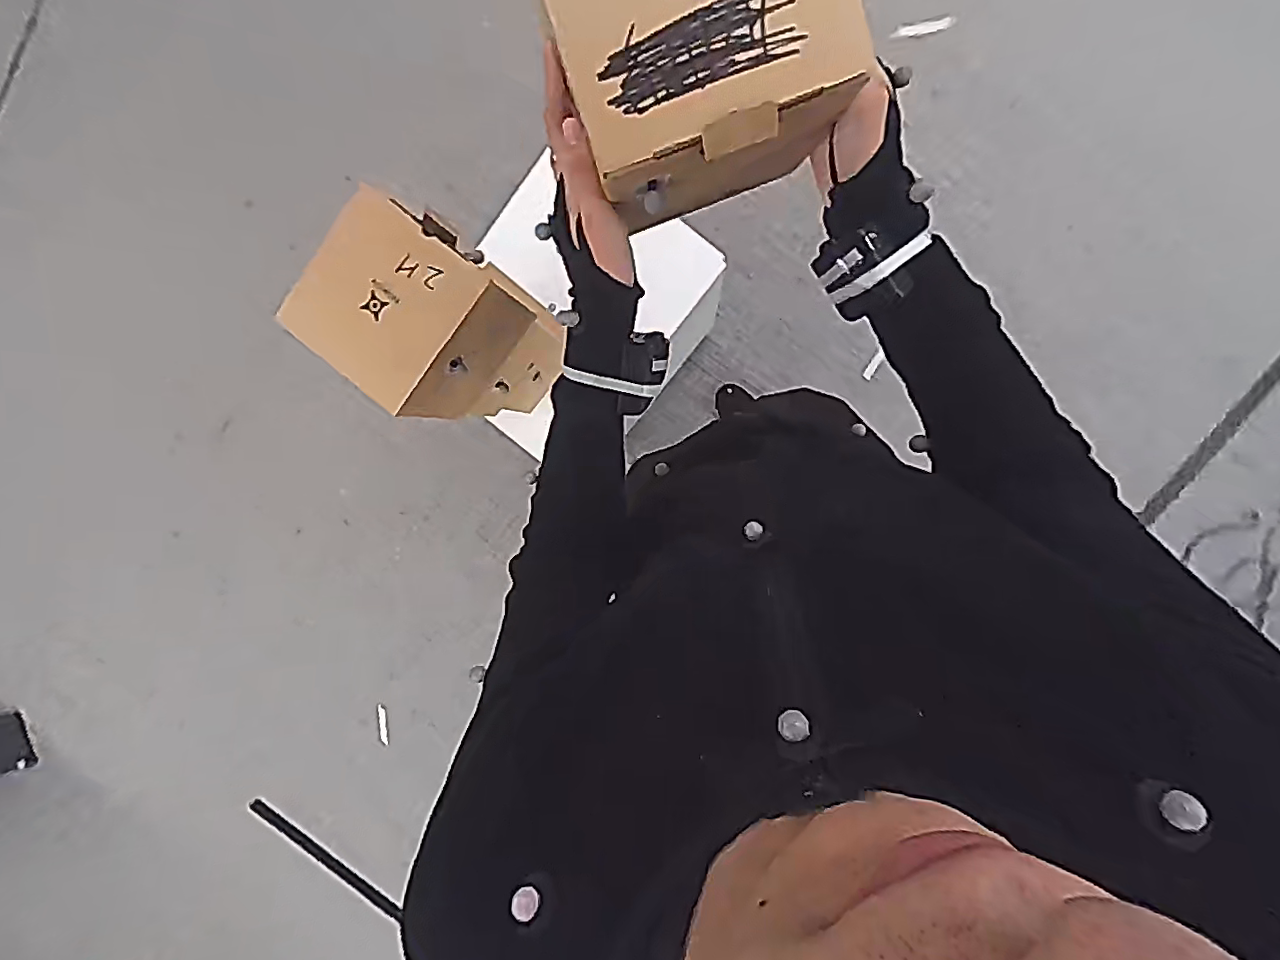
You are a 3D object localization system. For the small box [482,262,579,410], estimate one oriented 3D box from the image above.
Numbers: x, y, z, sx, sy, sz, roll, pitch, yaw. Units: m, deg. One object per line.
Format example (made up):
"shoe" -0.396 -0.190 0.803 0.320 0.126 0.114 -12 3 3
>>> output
"small box" -0.228 -0.239 0.951 0.168 0.176 0.179 40 96 1

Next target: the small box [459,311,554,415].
"small box" -0.252 -0.212 0.792 0.179 0.176 0.168 41 97 1

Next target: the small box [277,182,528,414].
"small box" -0.256 -0.190 0.628 0.168 0.176 0.179 38 97 0
